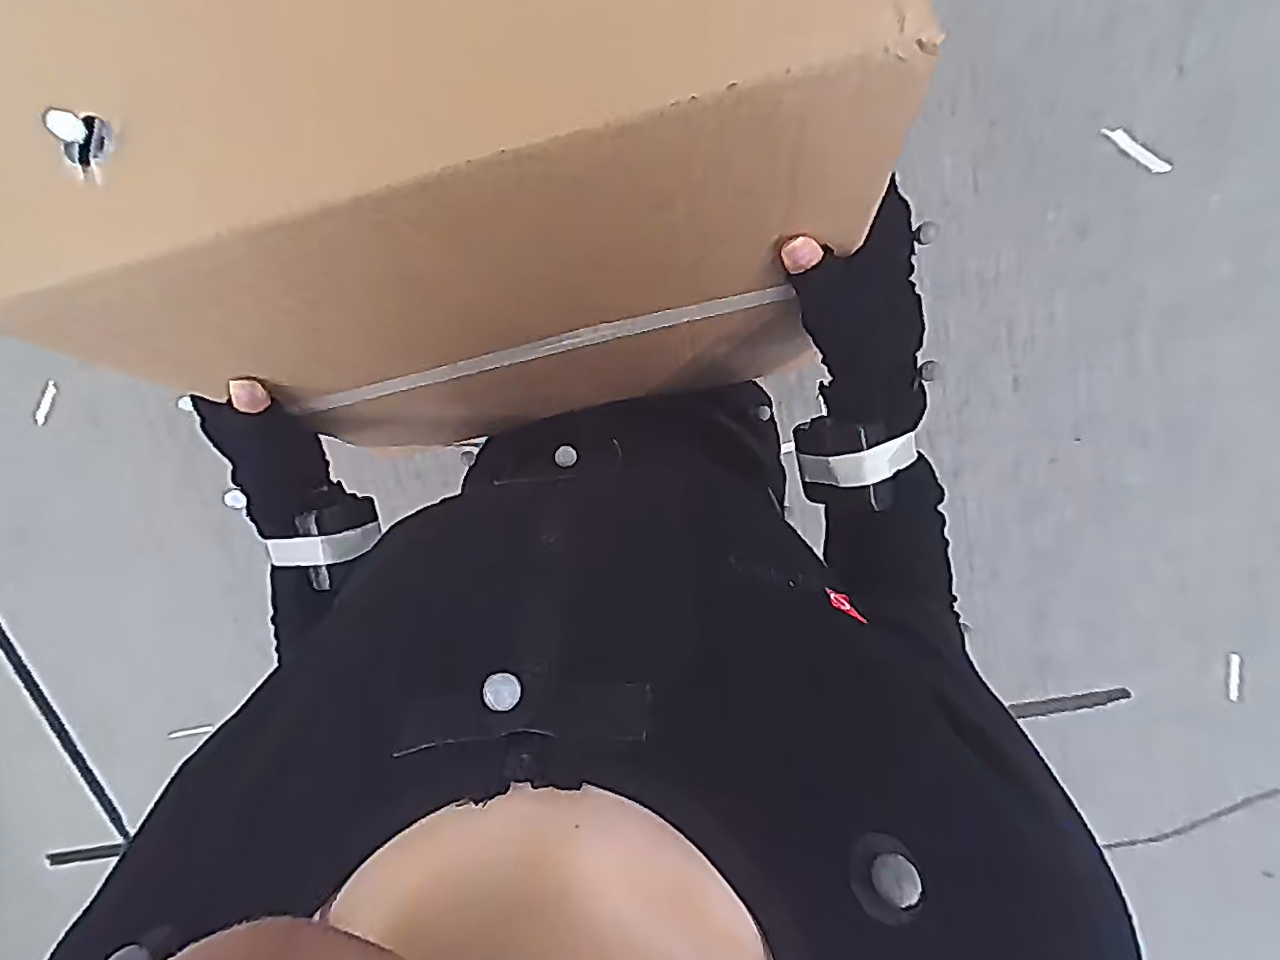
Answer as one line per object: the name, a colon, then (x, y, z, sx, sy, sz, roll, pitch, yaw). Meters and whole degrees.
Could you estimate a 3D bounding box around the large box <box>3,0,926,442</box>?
large box: (-0.095, -0.246, 0.386, 0.408, 0.320, 0.320, -11, 80, 7)
